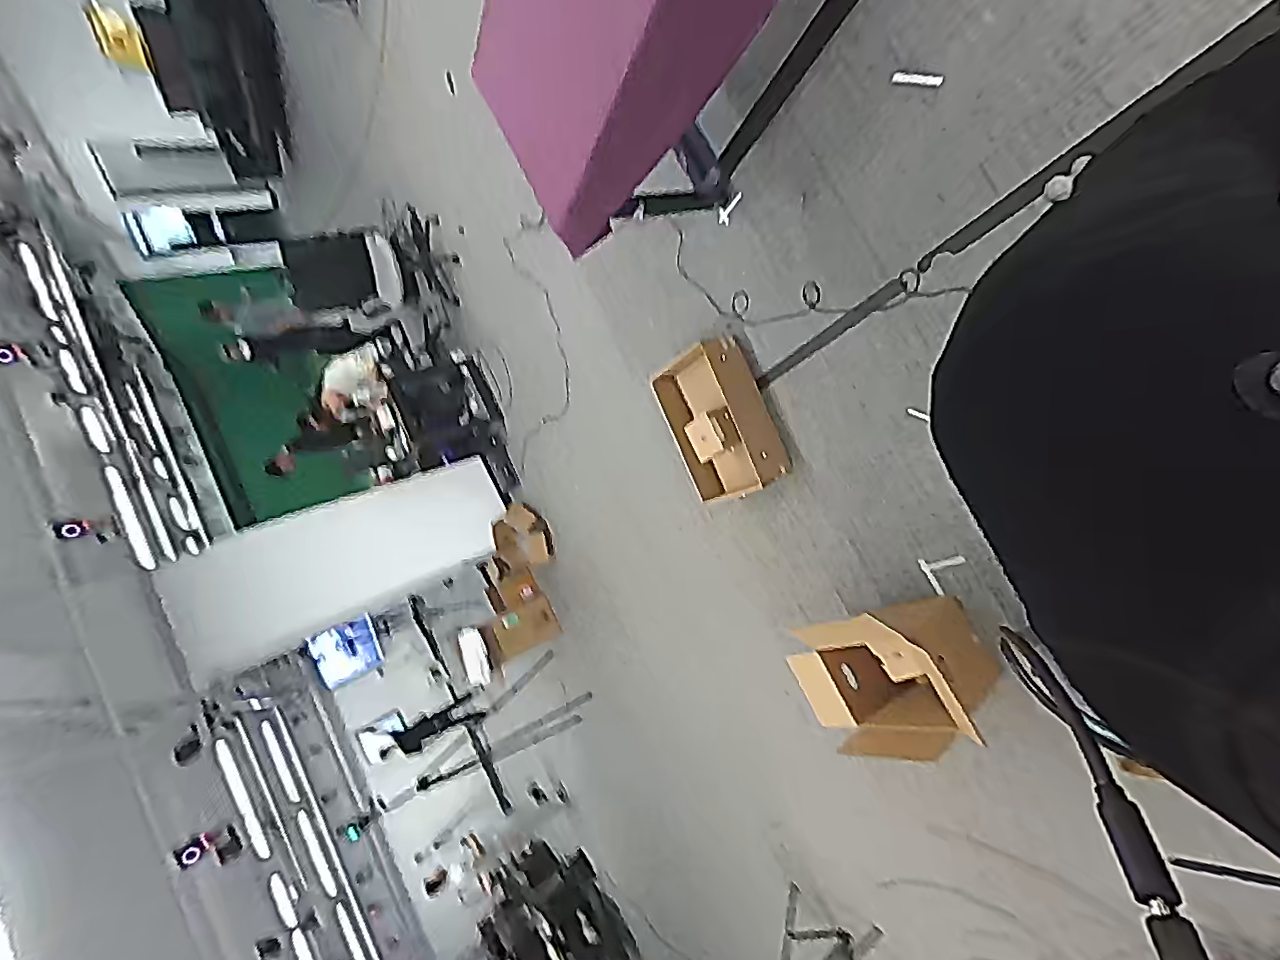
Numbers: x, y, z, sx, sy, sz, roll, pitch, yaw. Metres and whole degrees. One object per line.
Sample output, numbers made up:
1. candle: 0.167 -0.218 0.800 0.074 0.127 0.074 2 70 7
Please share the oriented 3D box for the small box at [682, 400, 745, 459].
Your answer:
1. small box: 0.311 -0.212 2.237 0.179 0.176 0.168 -34 80 57
